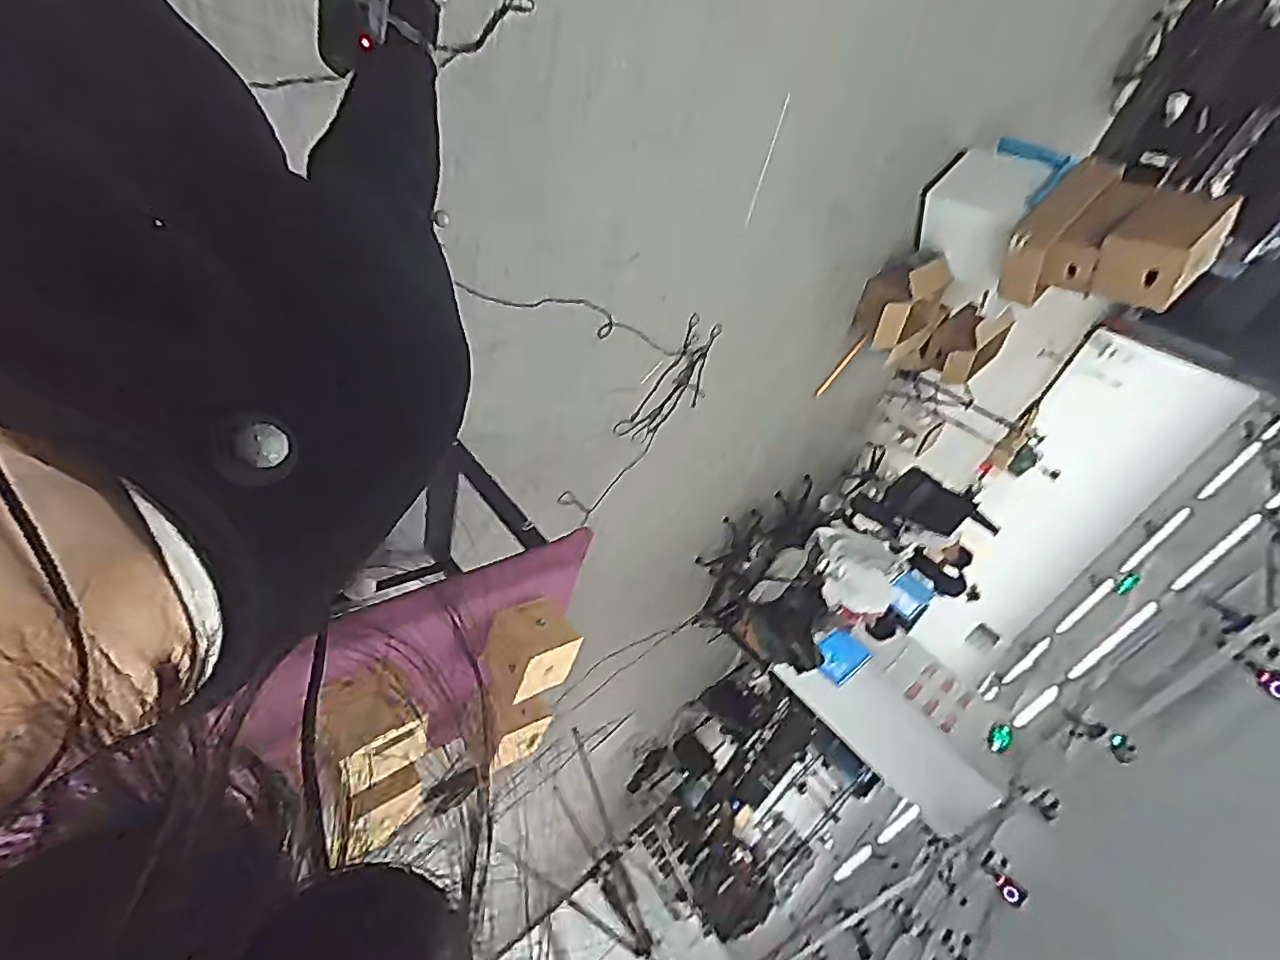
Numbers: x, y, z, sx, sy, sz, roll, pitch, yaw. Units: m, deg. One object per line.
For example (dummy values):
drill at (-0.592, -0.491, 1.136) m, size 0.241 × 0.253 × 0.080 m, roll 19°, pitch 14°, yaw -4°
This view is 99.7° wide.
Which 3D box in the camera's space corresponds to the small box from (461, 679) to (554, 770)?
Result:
small box at (-0.390, 0.694, 1.581) m, size 0.179 × 0.176 × 0.168 m, roll -2°, pitch 125°, yaw -48°

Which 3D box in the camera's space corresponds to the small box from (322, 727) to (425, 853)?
small box at (-0.649, 0.747, 1.321) m, size 0.179 × 0.176 × 0.168 m, roll -18°, pitch 135°, yaw -41°

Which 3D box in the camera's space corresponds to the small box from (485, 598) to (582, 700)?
small box at (-0.286, 0.434, 1.427) m, size 0.168 × 0.176 × 0.179 m, roll -8°, pitch 131°, yaw -46°
